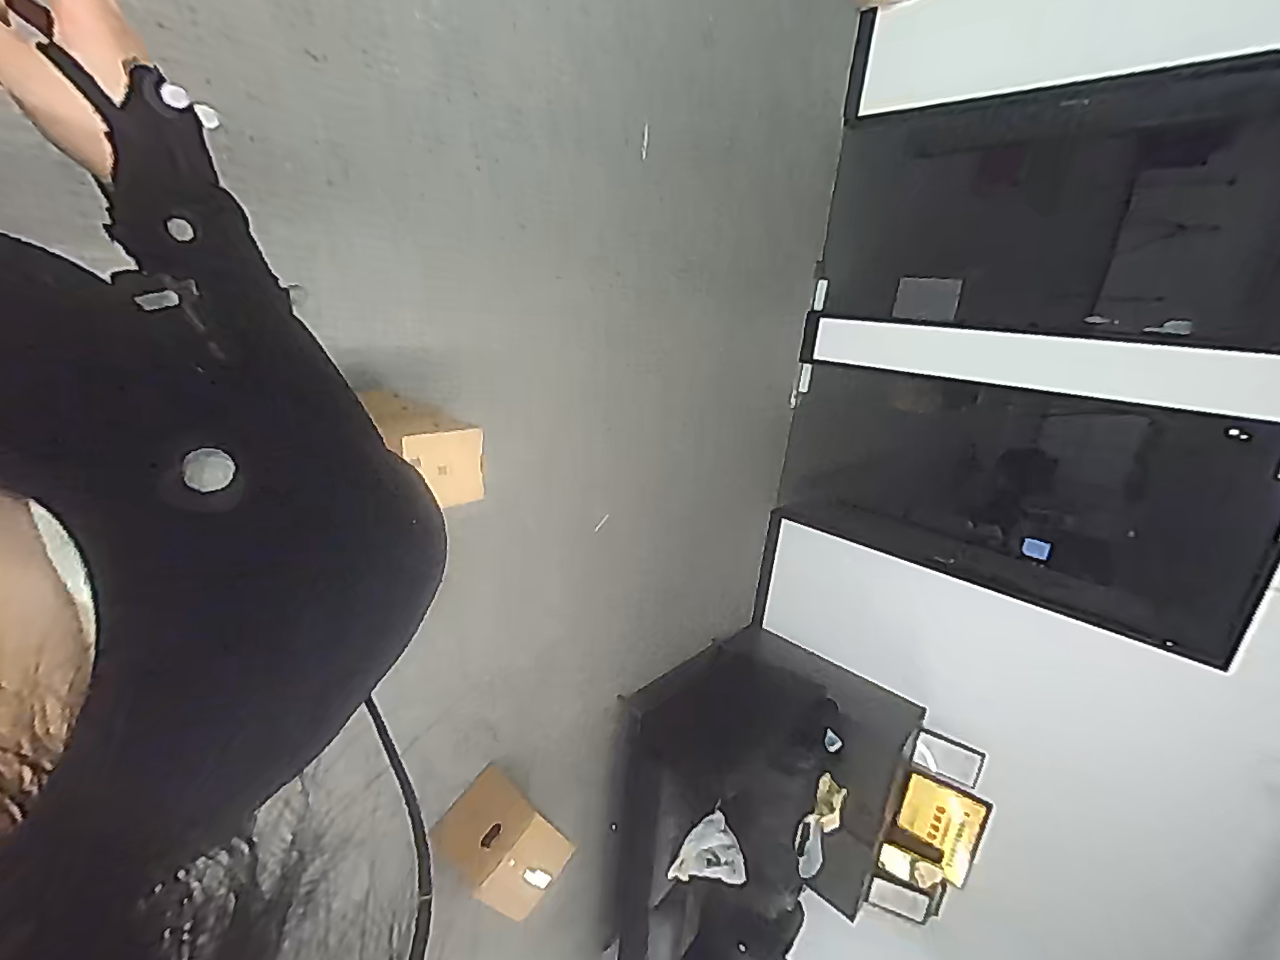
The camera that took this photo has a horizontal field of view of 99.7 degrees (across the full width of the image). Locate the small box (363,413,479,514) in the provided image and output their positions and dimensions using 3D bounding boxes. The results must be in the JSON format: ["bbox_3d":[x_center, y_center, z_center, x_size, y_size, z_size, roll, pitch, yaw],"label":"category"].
[{"bbox_3d":[-0.470,-0.045,1.167,0.179,0.176,0.168,-15,116,-46],"label":"small box"}]

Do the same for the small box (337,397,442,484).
[{"bbox_3d":[-0.586,-0.098,1.272,0.179,0.176,0.168,-14,116,-45],"label":"small box"}]
